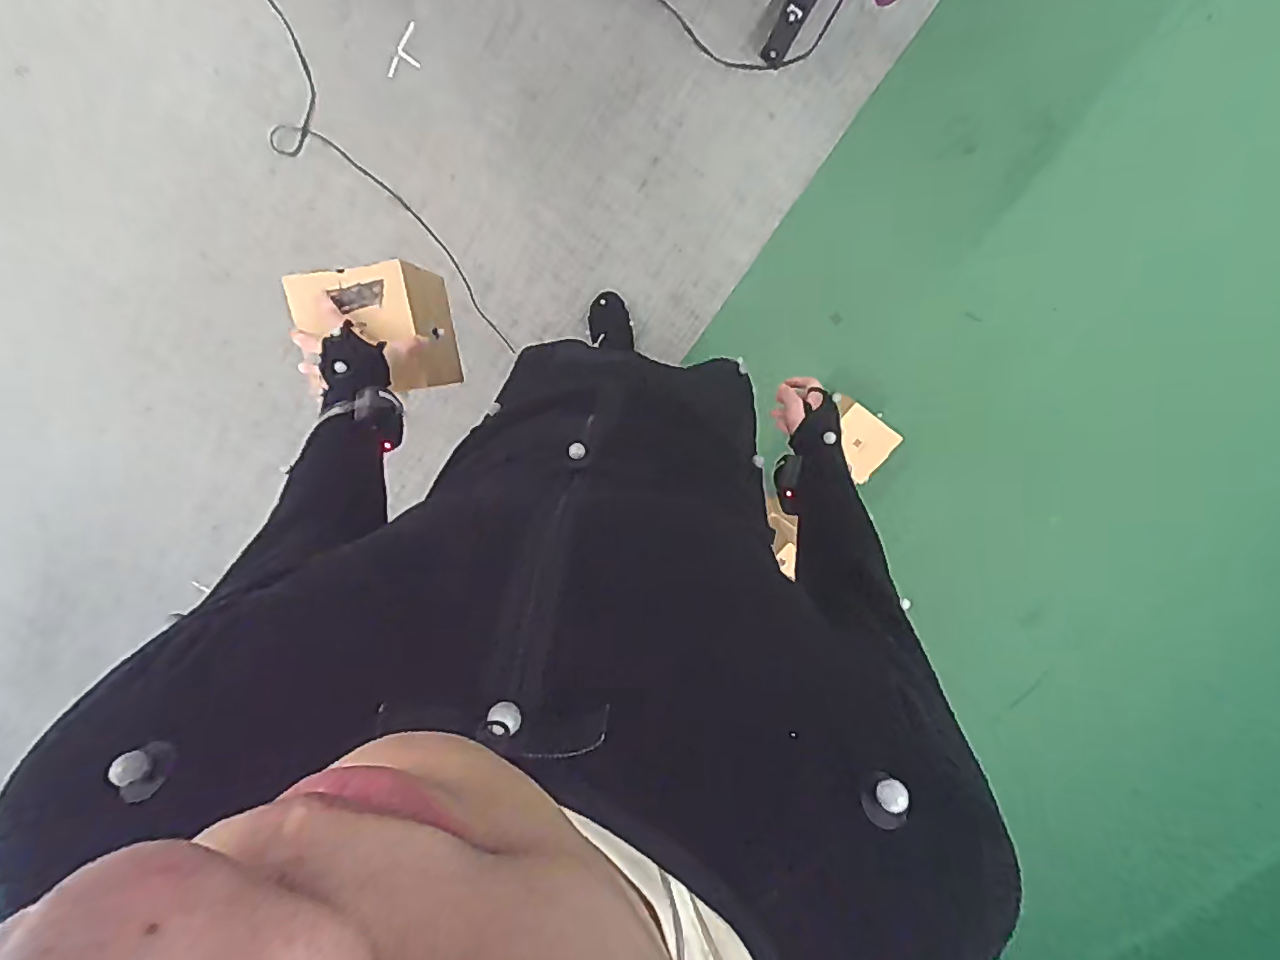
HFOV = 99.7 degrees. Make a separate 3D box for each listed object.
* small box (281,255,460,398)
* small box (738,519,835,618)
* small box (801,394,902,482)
[{"bbox_3d":[-0.393,-0.226,0.821,0.168,0.176,0.179,-7,104,2],"label":"small box"},{"bbox_3d":[0.396,0.236,1.486,0.179,0.176,0.168,36,107,-12],"label":"small box"},{"bbox_3d":[0.586,-0.126,1.526,0.179,0.176,0.168,34,107,-12],"label":"small box"}]
